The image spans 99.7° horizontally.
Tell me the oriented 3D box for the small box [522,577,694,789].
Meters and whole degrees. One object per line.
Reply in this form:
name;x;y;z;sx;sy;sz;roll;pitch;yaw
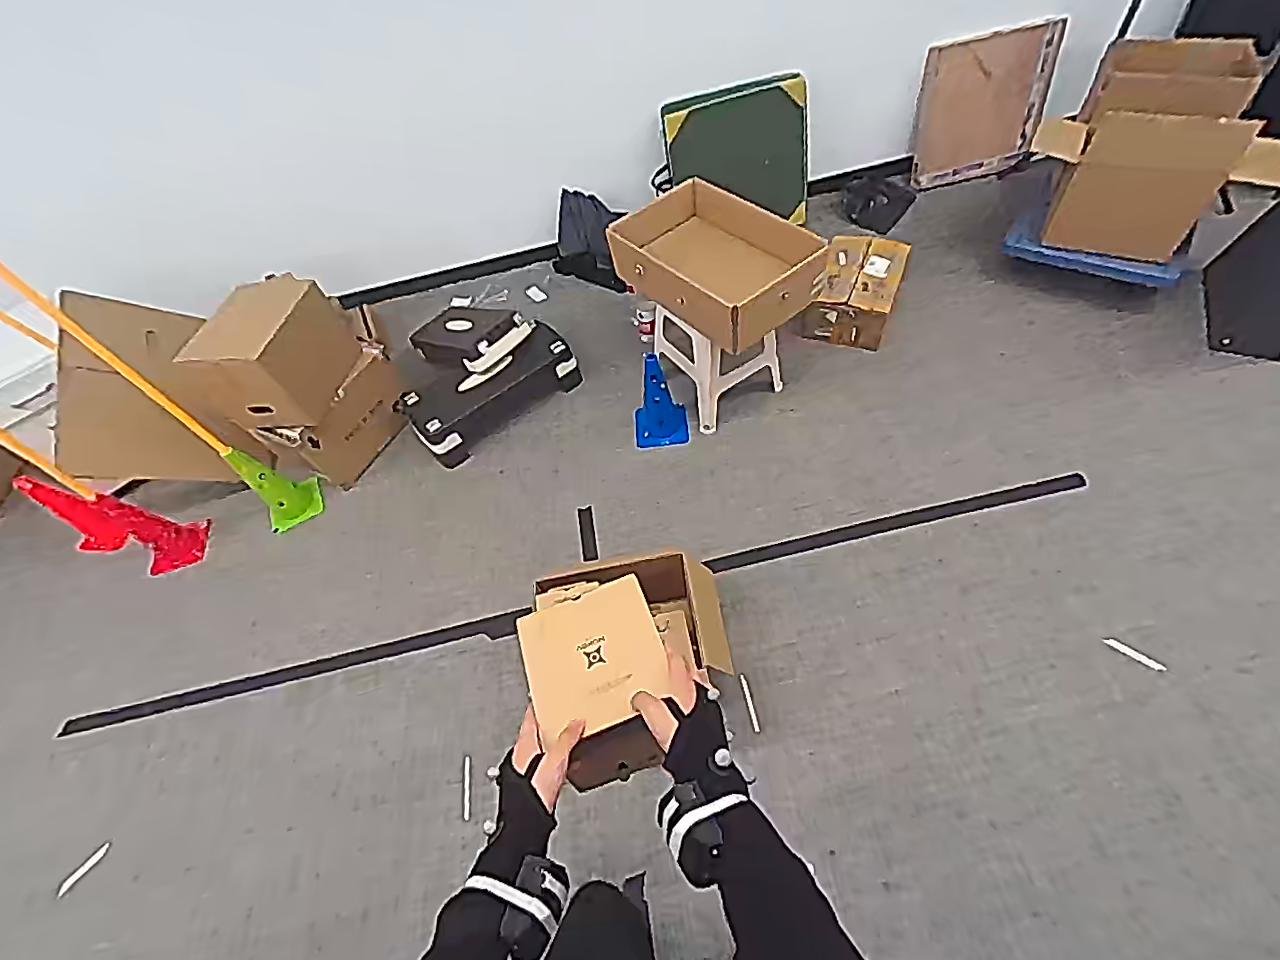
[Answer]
small box;-0.040;0.264;0.705;0.168;0.176;0.179;-20;45;-6
